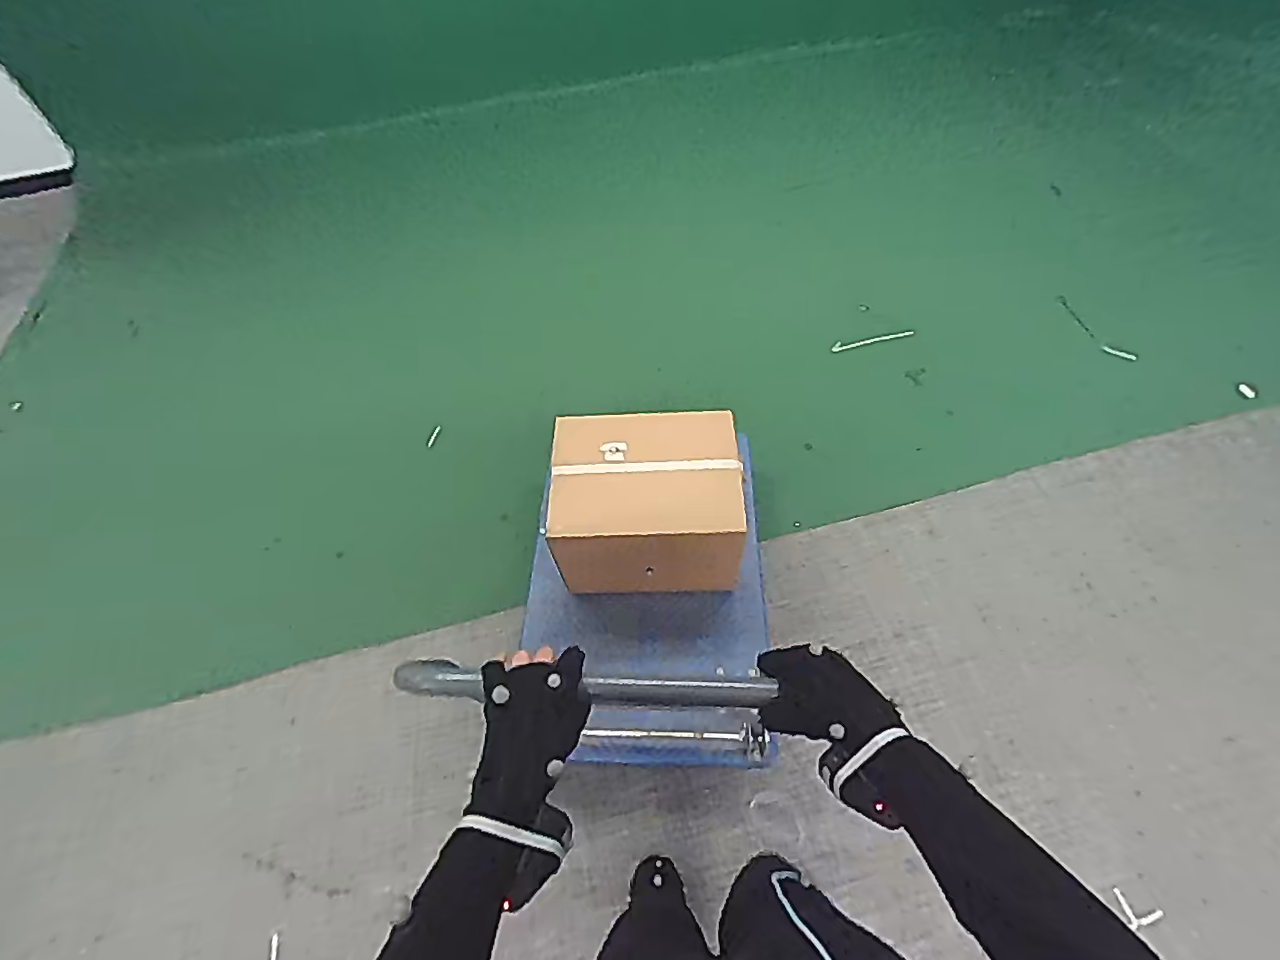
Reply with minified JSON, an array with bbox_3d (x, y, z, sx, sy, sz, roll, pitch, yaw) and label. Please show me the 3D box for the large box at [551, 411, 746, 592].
[{"bbox_3d":[0.024,0.062,1.294,0.408,0.320,0.320,-3,56,3],"label":"large box"}]
